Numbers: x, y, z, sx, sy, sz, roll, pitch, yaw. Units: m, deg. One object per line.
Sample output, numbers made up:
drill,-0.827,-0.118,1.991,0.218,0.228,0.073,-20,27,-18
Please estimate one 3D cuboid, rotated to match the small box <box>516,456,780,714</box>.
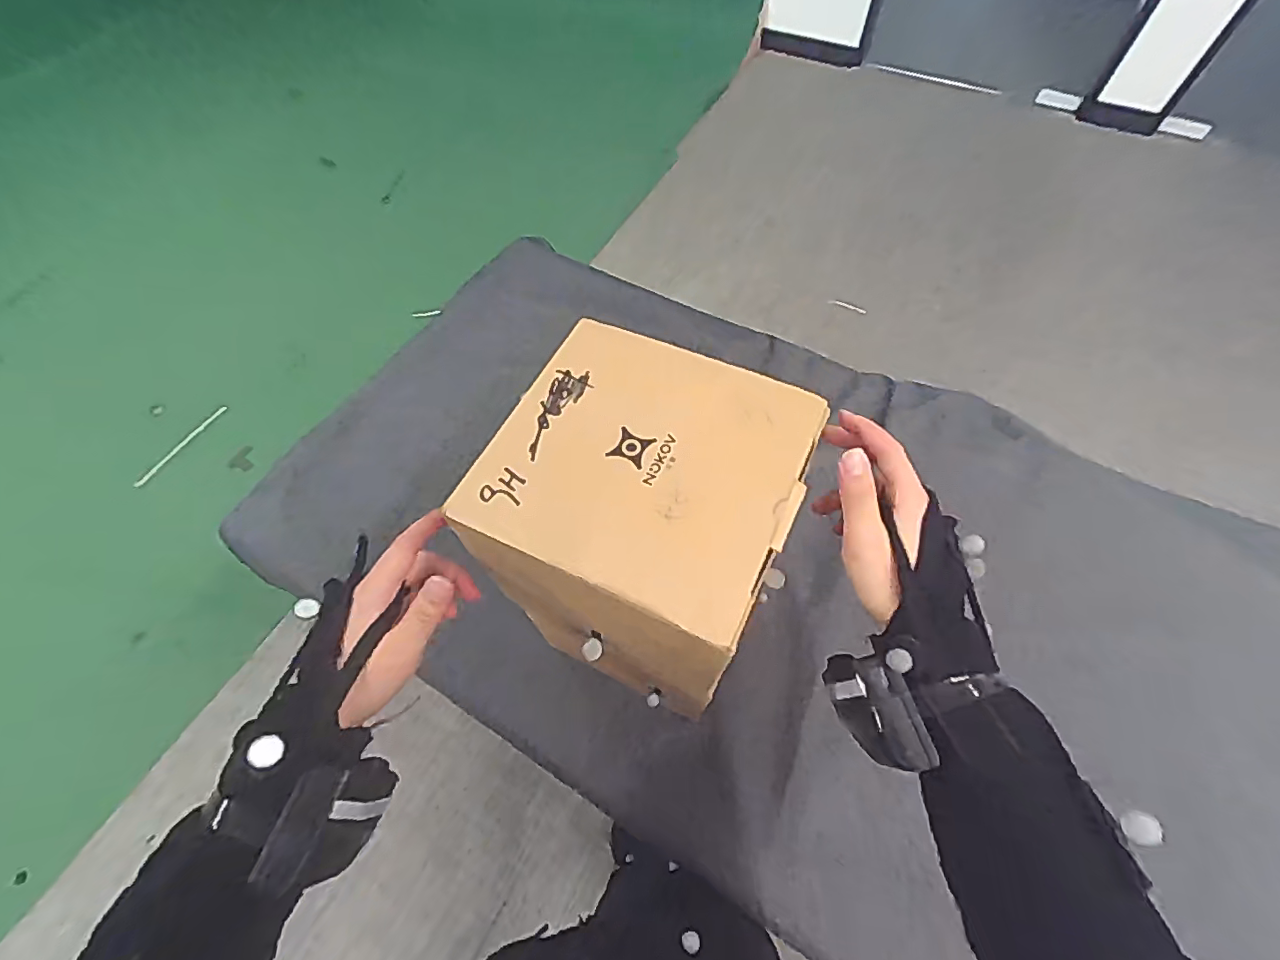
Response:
small box,0.012,0.110,0.527,0.179,0.176,0.168,22,63,14
